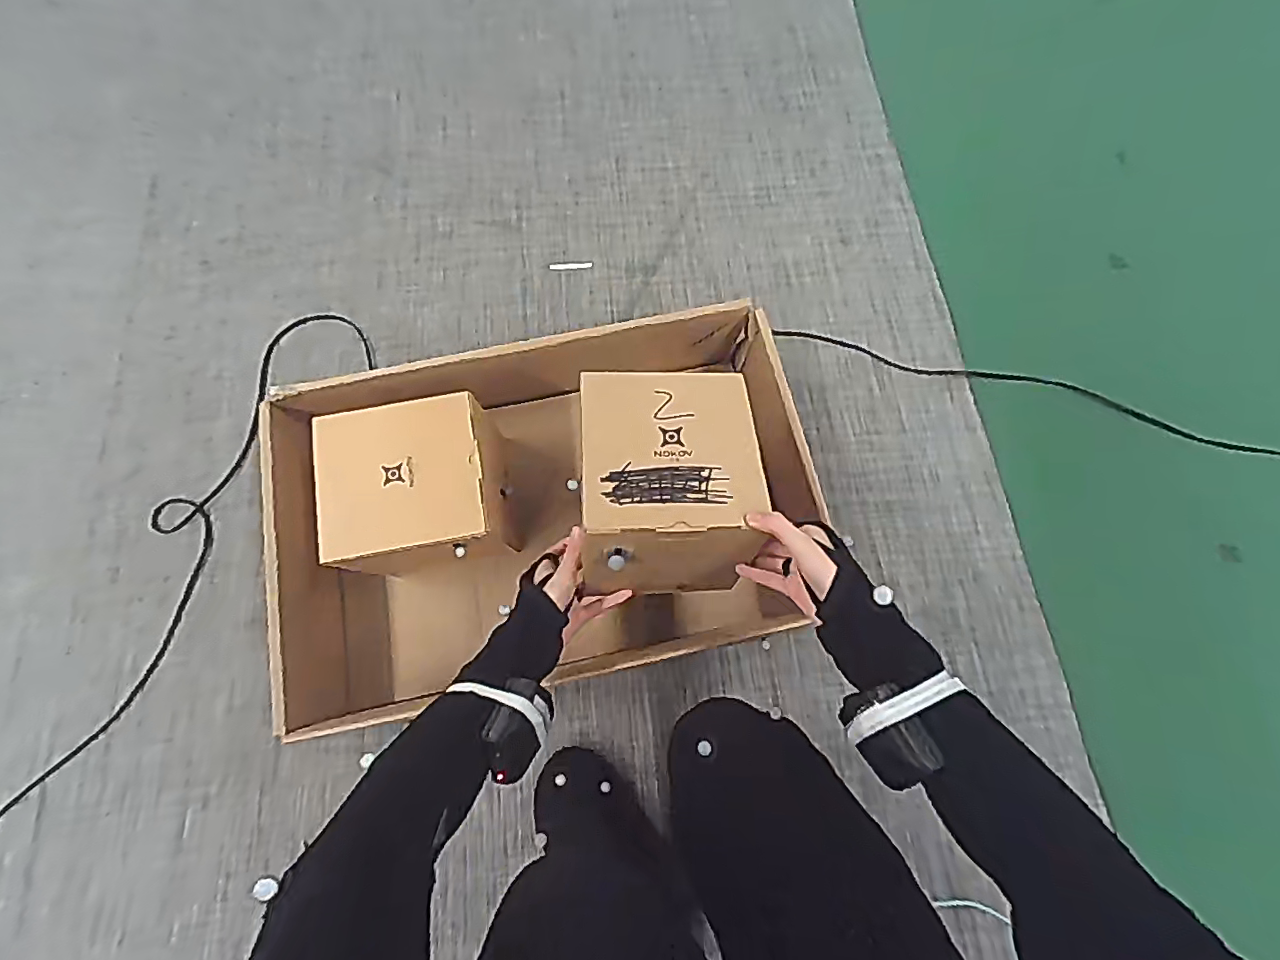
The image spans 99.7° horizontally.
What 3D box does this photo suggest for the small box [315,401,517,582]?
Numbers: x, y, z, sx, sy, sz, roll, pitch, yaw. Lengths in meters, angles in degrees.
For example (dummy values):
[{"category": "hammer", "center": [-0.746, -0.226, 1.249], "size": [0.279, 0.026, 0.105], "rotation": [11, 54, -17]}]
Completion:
[{"category": "small box", "center": [-0.262, 0.024, 0.662], "size": [0.179, 0.176, 0.168], "rotation": [-11, 75, -4]}]
